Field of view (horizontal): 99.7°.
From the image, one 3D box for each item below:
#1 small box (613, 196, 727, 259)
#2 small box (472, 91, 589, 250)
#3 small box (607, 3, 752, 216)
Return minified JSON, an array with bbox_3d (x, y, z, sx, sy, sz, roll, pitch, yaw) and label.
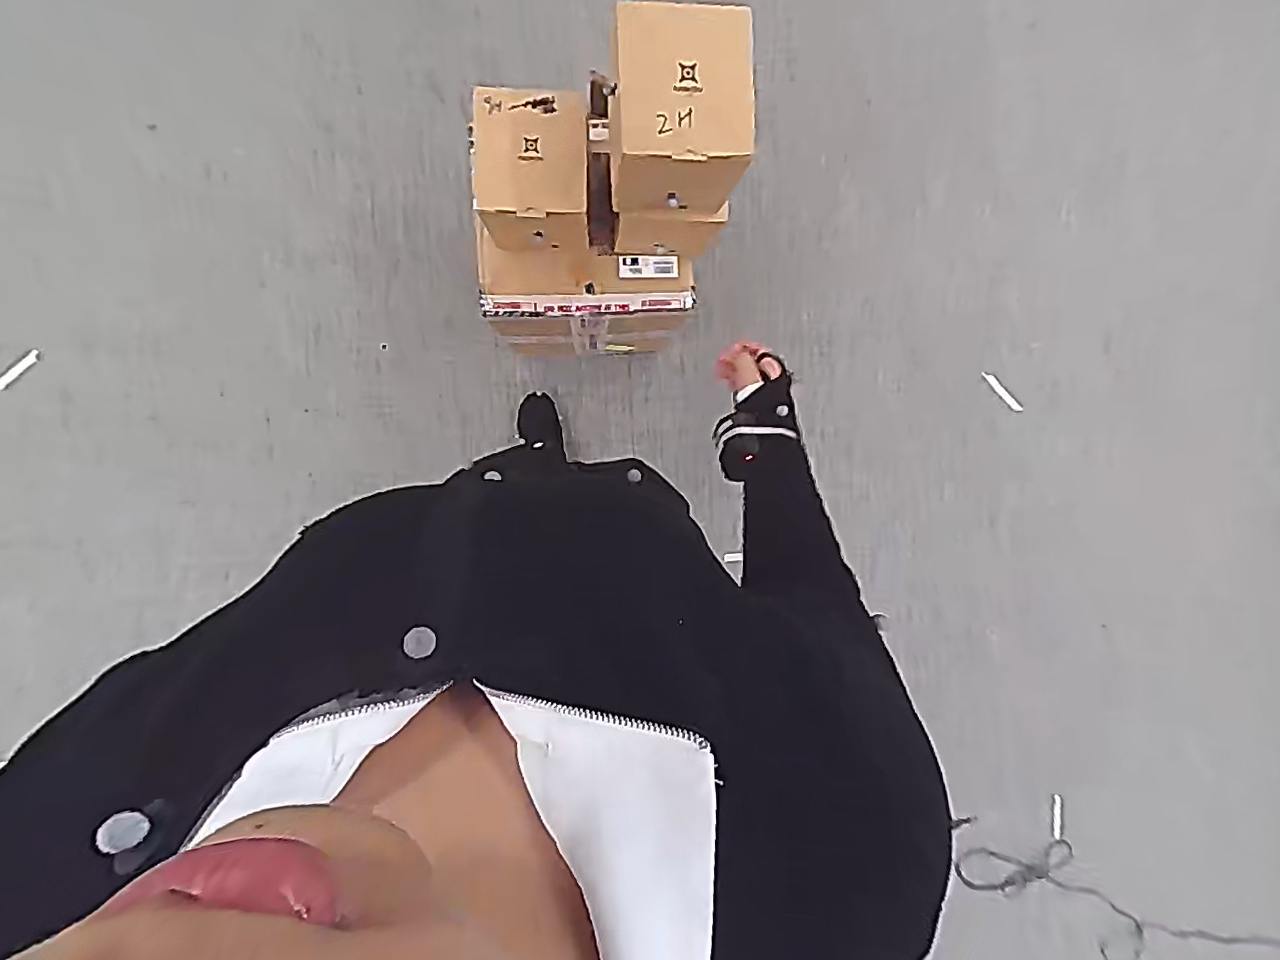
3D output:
[{"bbox_3d":[0.042,-0.484,0.894,0.168,0.176,0.179,-1,96,-7],"label":"small box"},{"bbox_3d":[-0.167,-0.484,0.872,0.168,0.176,0.179,0,96,-4],"label":"small box"},{"bbox_3d":[0.045,-0.481,0.727,0.168,0.176,0.179,-3,96,-7],"label":"small box"}]
